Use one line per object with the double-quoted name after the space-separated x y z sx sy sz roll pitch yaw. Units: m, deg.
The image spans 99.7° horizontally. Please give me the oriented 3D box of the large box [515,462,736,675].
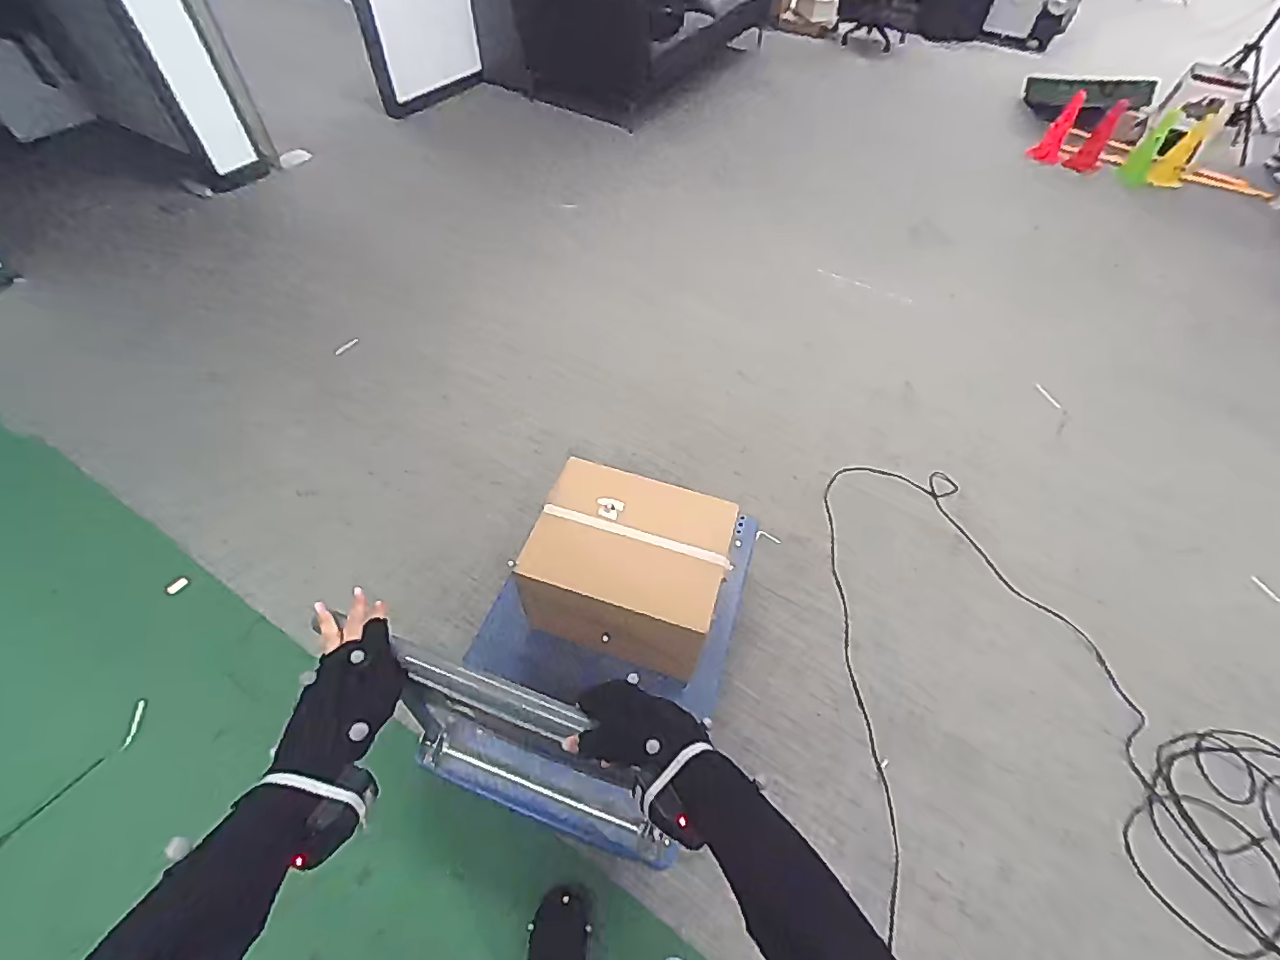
-0.021 0.210 1.258 0.408 0.320 0.320 16 54 9 "large box"
